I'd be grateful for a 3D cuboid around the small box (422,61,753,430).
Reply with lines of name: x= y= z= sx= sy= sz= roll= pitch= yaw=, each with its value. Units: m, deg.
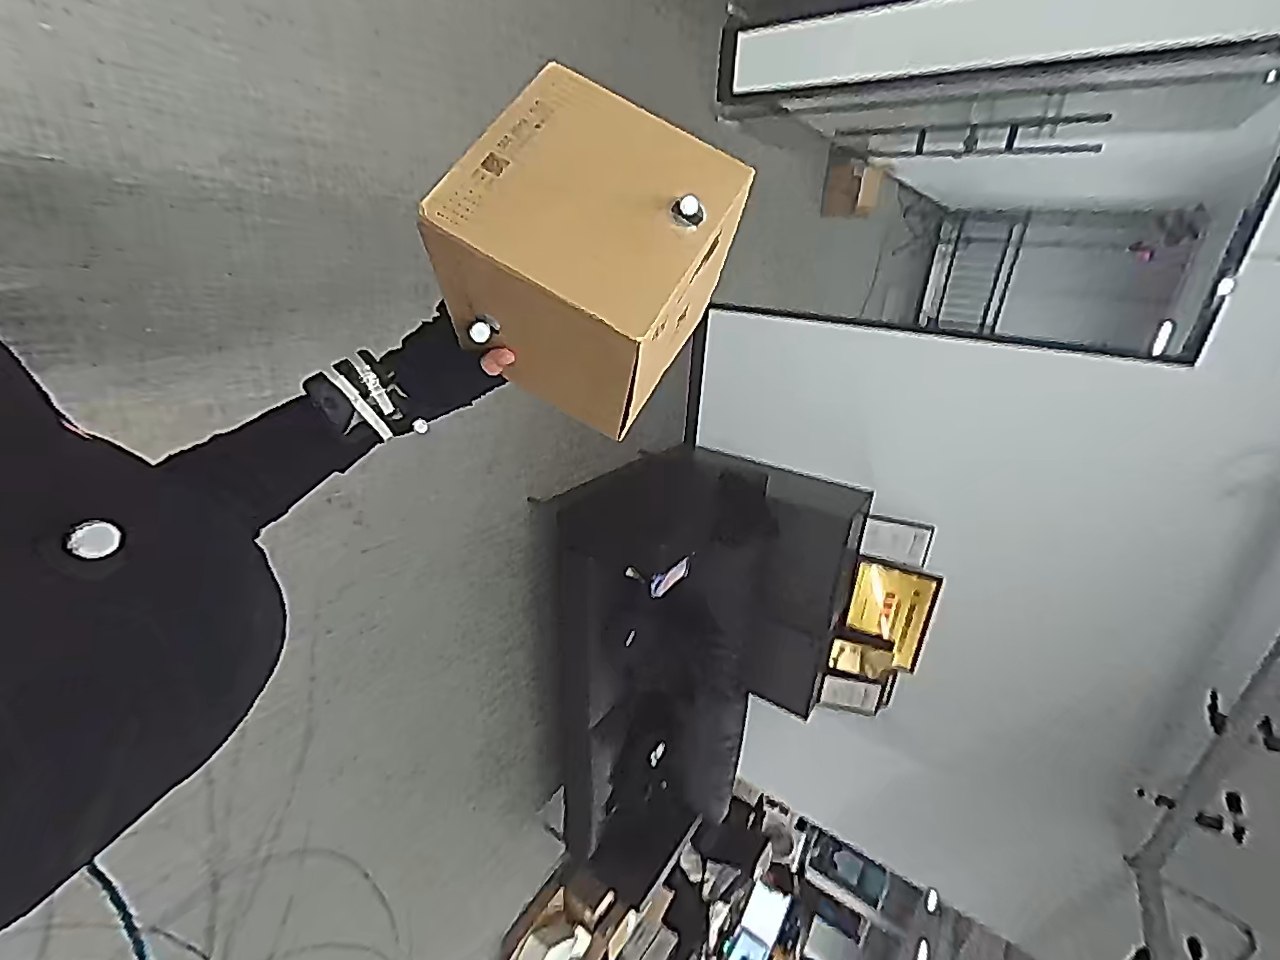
small box: x=-0.042 y=-0.173 z=0.434 sx=0.168 sy=0.176 sz=0.179 roll=-61 pitch=179 yaw=-17
